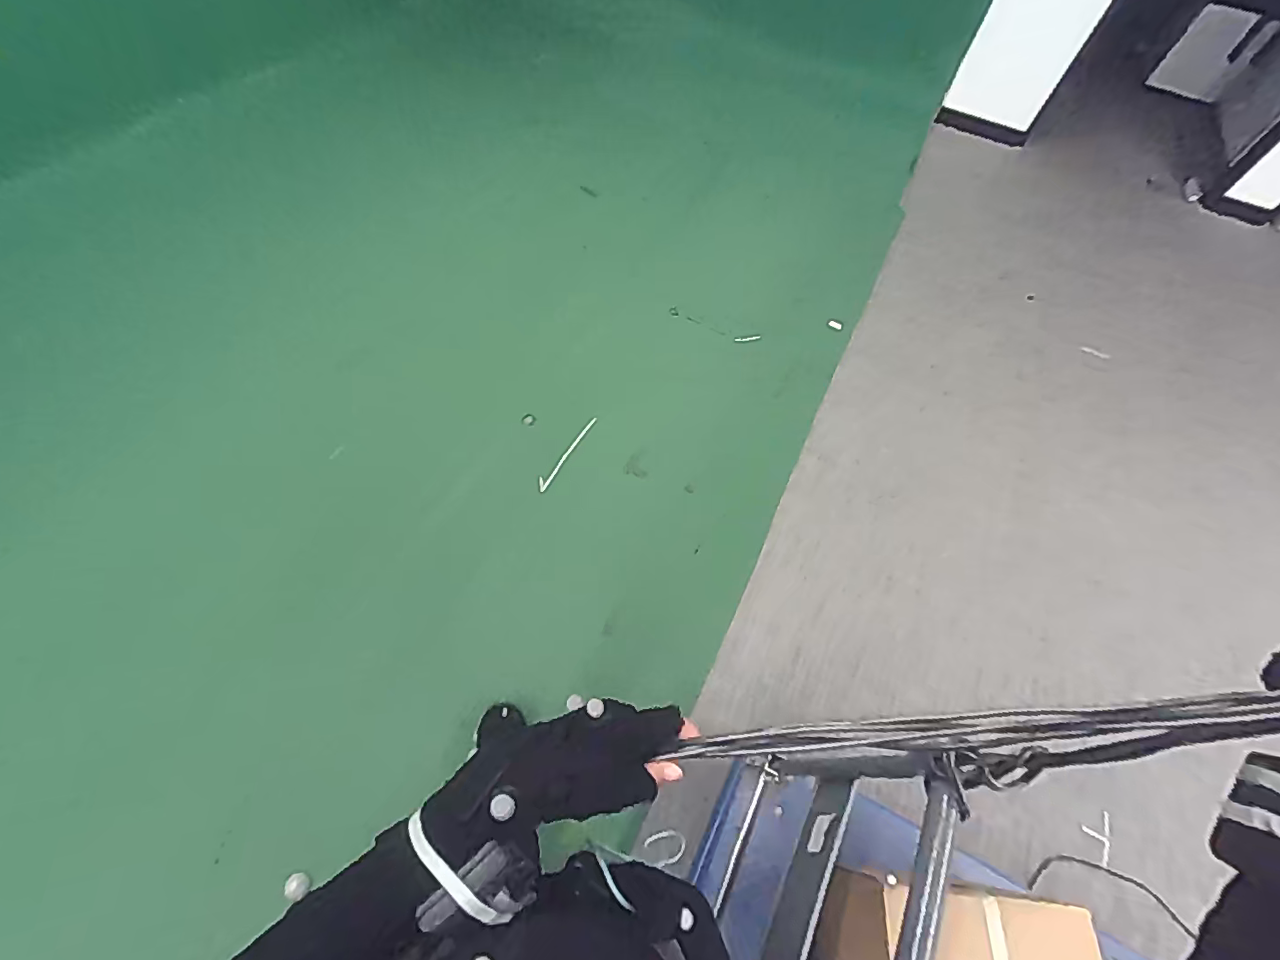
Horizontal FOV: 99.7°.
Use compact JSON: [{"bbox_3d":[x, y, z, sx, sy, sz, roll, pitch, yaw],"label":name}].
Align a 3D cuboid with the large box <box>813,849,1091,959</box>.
[{"bbox_3d":[0.481,0.850,0.851,0.320,0.320,0.408,8,59,0],"label":"large box"}]
